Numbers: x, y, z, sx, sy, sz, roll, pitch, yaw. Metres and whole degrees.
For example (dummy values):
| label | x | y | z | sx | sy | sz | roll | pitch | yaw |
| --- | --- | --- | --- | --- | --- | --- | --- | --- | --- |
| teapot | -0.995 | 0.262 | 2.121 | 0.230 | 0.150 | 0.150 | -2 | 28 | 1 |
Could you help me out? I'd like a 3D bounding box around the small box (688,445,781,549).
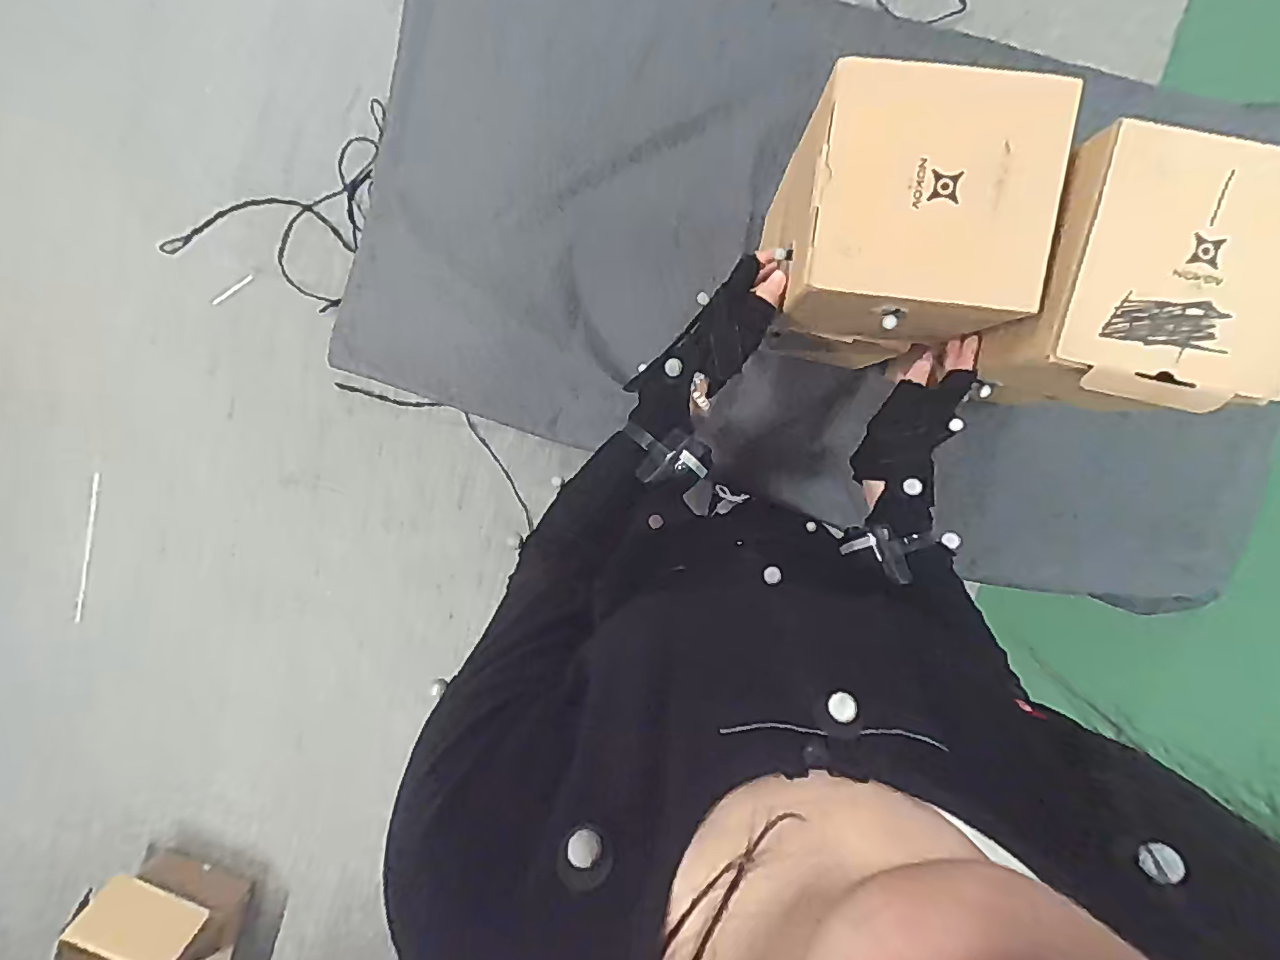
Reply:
| label | x | y | z | sx | sy | sz | roll | pitch | yaw |
| --- | --- | --- | --- | --- | --- | --- | --- | --- | --- |
| small box | 0.237 | 0.047 | 1.411 | 0.179 | 0.176 | 0.168 | -35 | 62 | -16 |
